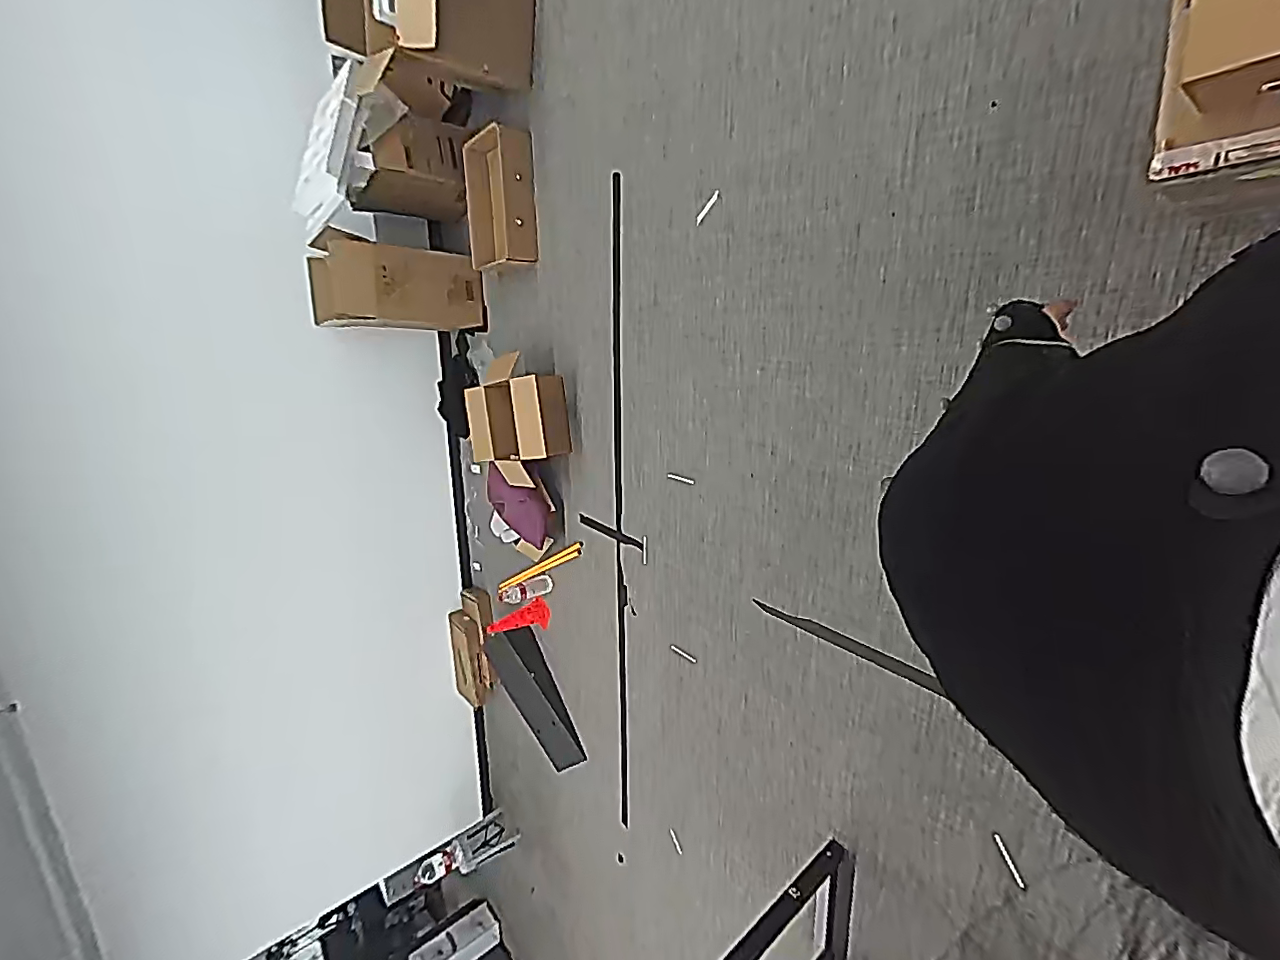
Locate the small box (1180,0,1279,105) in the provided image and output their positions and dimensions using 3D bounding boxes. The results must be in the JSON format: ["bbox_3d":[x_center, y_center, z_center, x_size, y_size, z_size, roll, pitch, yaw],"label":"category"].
[{"bbox_3d":[0.691,-0.522,0.552,0.168,0.176,0.179,12,113,50],"label":"small box"}]
